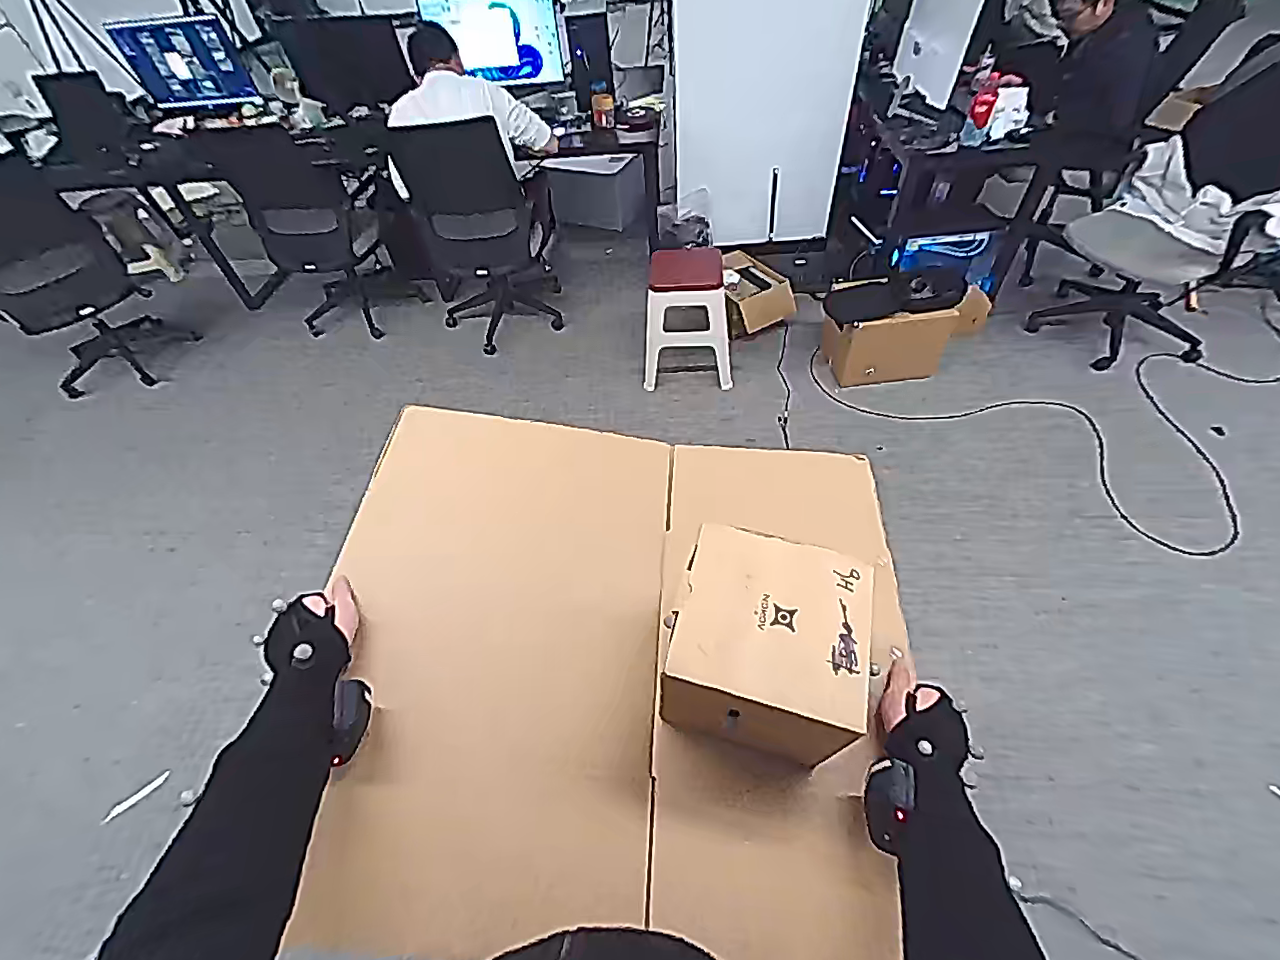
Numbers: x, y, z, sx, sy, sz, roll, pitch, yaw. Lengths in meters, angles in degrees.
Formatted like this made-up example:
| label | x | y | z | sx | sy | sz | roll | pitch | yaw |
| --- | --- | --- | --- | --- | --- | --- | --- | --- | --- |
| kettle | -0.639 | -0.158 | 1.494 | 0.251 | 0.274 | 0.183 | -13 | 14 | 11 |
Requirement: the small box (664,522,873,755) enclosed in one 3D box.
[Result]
| label | x | y | z | sx | sy | sz | roll | pitch | yaw |
| --- | --- | --- | --- | --- | --- | --- | --- | --- | --- |
| small box | 0.130 | 0.172 | 0.574 | 0.179 | 0.176 | 0.168 | 12 | 55 | 12 |
